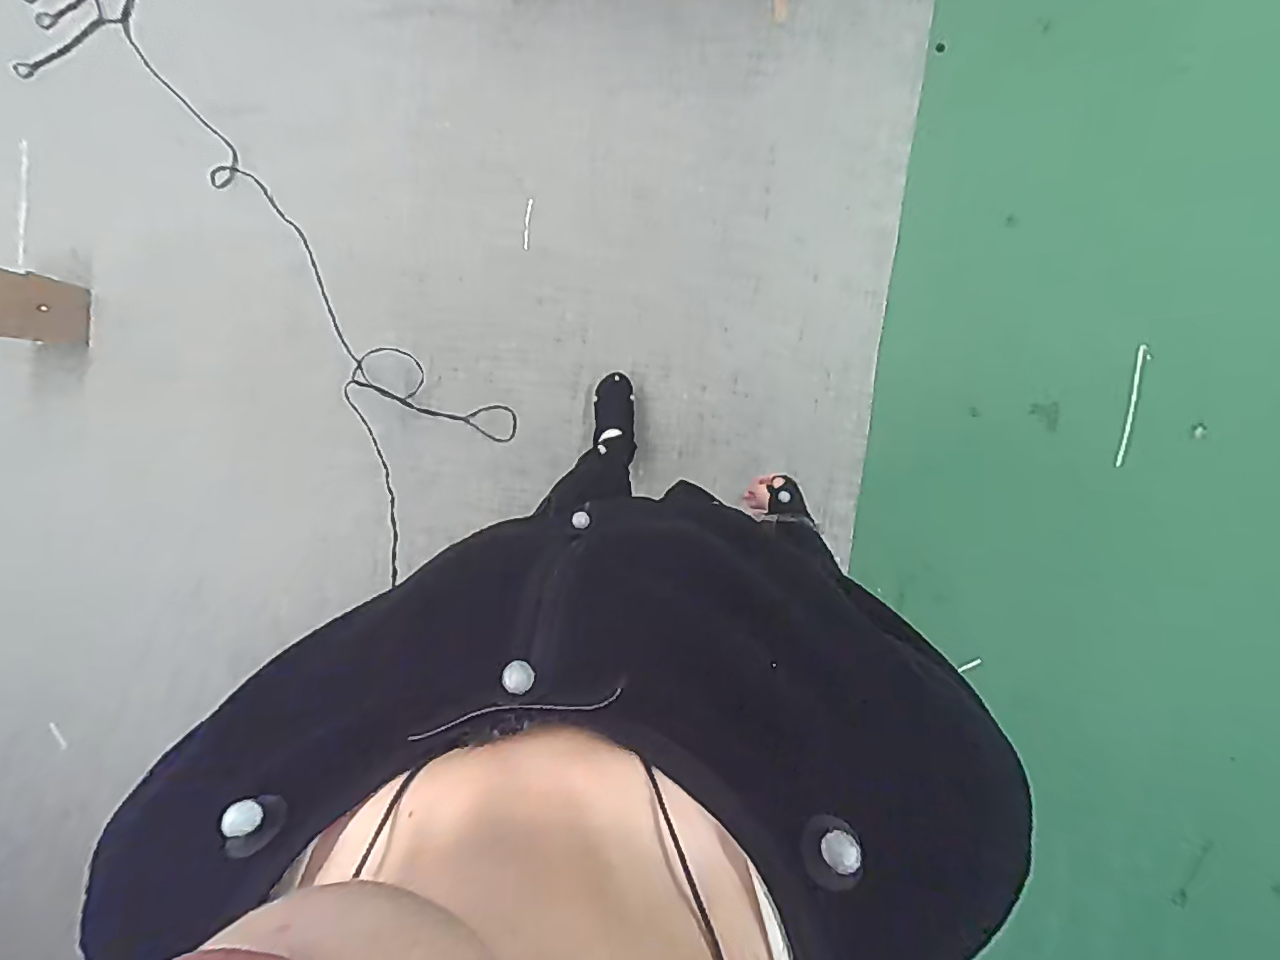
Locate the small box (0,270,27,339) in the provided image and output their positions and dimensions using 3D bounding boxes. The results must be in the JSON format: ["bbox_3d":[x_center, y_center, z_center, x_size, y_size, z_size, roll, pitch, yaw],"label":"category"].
[{"bbox_3d":[-1.729,-0.464,1.372,0.168,0.176,0.179,7,93,3],"label":"small box"}]

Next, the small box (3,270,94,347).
[{"bbox_3d":[-1.715,-0.483,1.536,0.168,0.176,0.179,7,93,4],"label":"small box"}]
